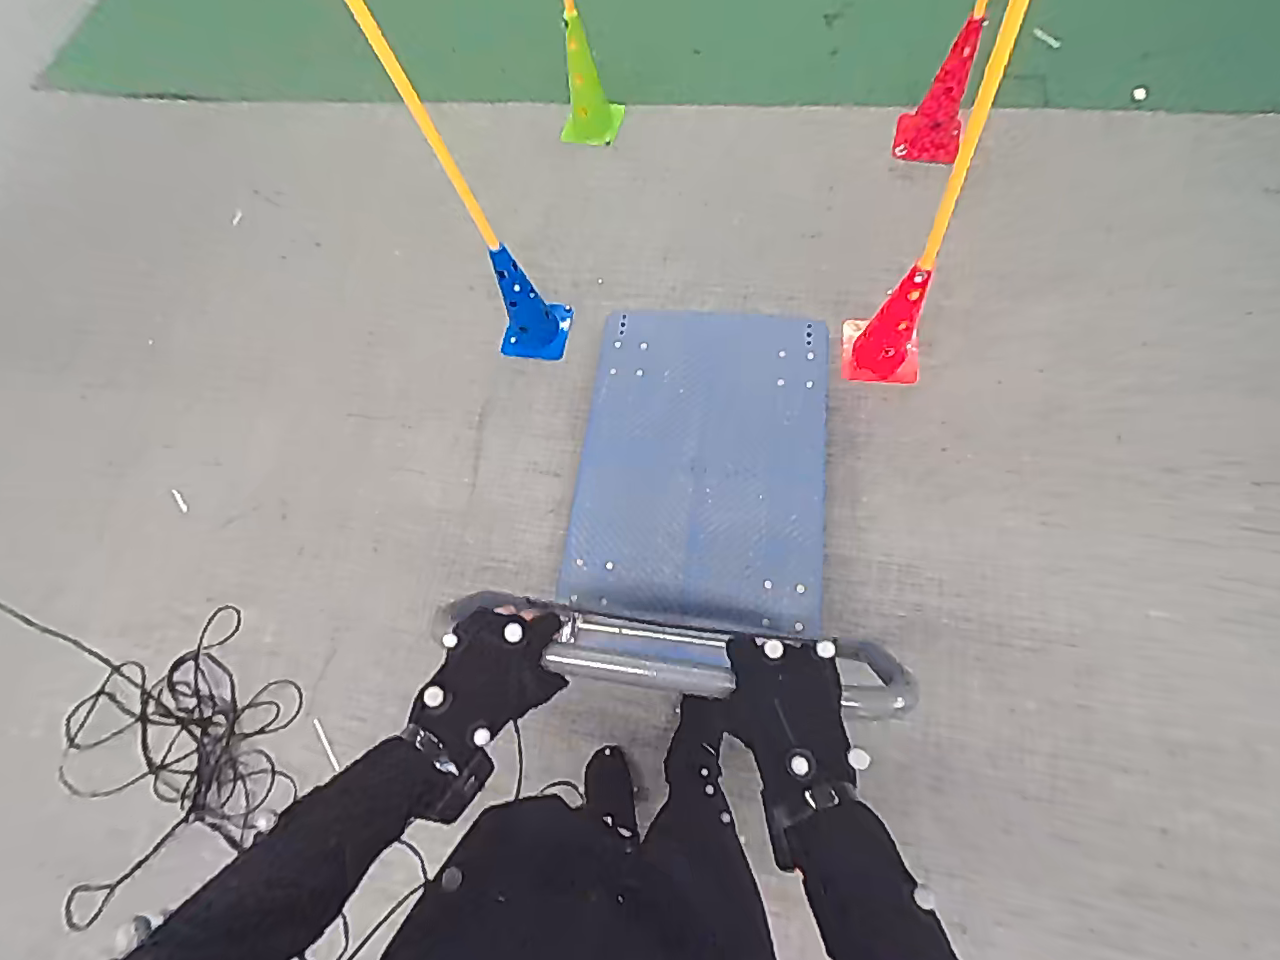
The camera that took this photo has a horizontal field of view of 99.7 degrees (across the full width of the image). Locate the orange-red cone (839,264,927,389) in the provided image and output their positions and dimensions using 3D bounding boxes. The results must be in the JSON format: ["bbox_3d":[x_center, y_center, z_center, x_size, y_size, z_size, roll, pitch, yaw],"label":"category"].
[{"bbox_3d":[0.647,-0.408,1.376,0.199,0.360,0.198,6,71,11],"label":"orange-red cone"}]

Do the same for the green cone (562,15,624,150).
[{"bbox_3d":[-0.191,-1.334,1.802,0.202,0.368,0.200,11,72,11],"label":"green cone"}]
